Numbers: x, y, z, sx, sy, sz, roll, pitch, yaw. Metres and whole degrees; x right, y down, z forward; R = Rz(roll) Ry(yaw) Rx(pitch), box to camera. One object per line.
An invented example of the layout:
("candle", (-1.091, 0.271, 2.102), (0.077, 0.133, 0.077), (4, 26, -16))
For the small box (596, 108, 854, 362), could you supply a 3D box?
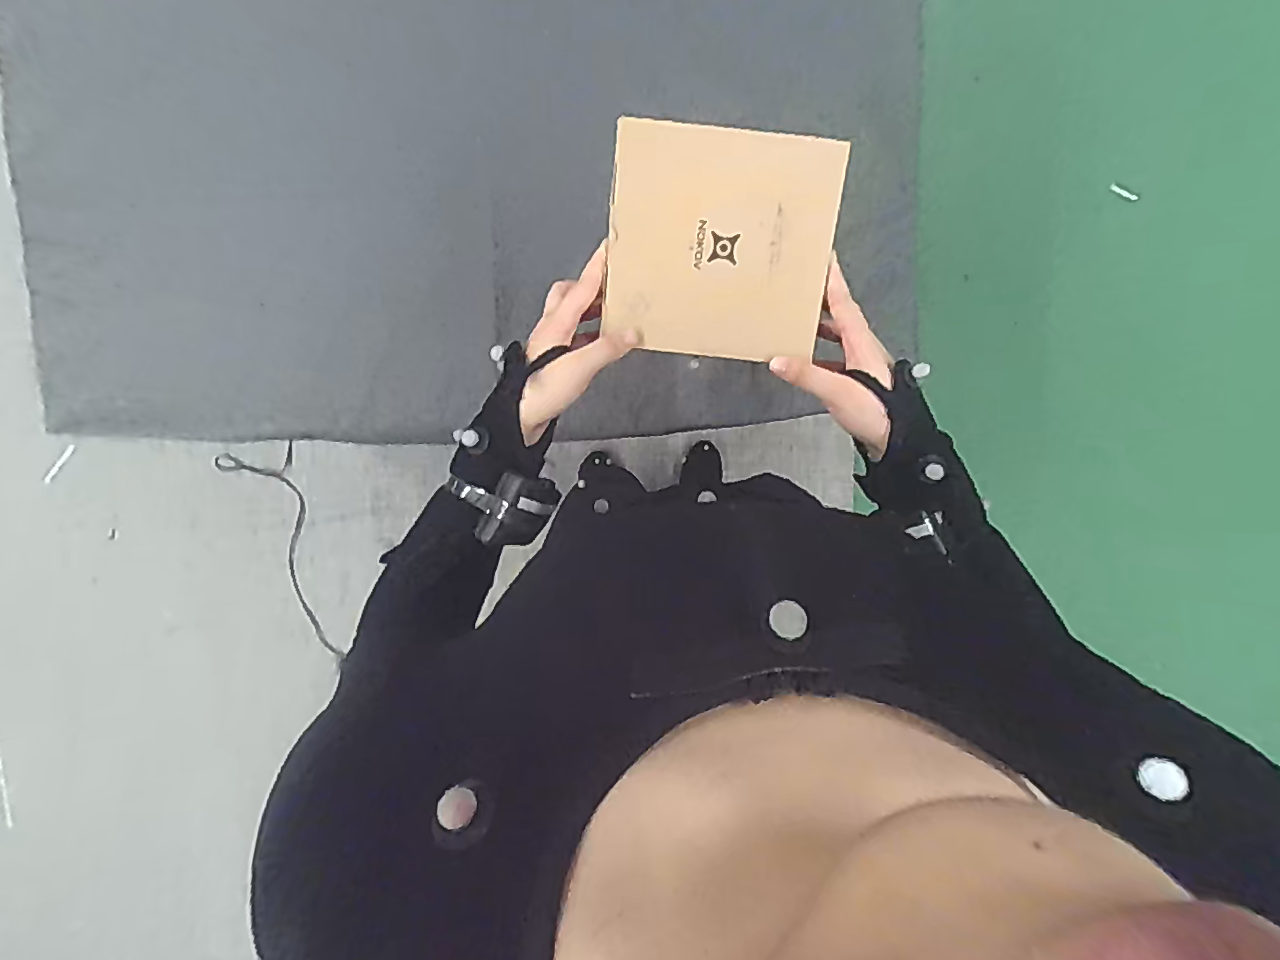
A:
("small box", (0.061, -0.200, 0.482), (0.179, 0.176, 0.168), (6, 106, 0))
